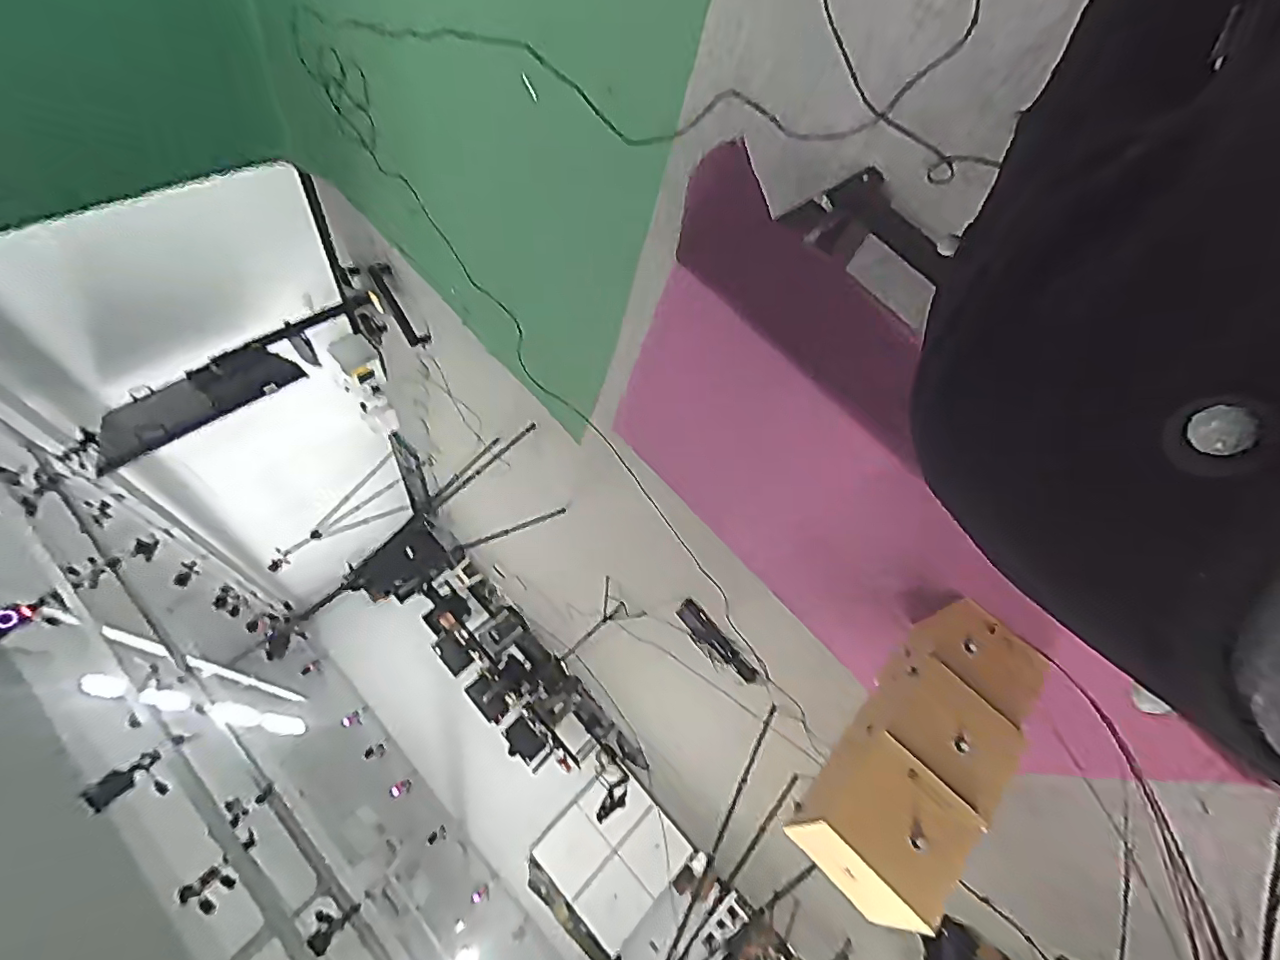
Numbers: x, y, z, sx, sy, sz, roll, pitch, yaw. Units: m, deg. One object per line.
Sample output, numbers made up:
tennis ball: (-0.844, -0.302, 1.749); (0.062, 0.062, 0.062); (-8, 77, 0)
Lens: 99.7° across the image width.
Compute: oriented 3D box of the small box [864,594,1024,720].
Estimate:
small box: (0.557, 0.337, 0.990); (0.168, 0.176, 0.179); (44, 152, 16)

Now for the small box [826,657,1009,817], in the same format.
small box: (0.451, 0.416, 0.890); (0.179, 0.176, 0.168); (43, 151, 16)

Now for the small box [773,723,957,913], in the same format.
small box: (0.335, 0.493, 0.806); (0.168, 0.176, 0.179); (42, 151, 20)
